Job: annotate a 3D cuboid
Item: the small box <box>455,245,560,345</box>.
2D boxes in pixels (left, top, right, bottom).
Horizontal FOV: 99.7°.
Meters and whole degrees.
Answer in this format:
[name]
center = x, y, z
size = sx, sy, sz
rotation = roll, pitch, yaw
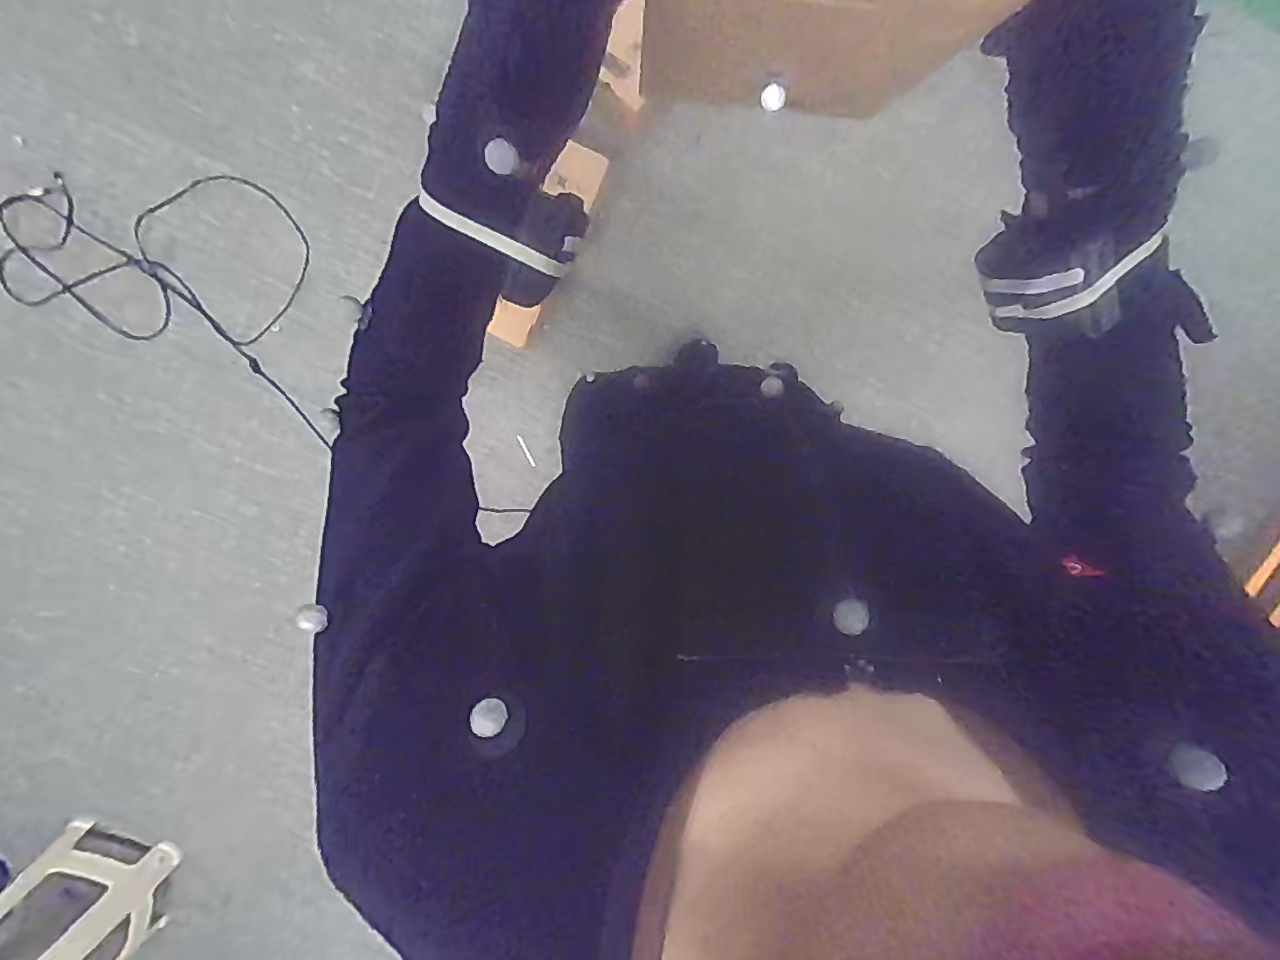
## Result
[small box]
center = -0.310, -0.434, 1.302
size = 0.179, 0.176, 0.168
rotation = 25, 101, -5
